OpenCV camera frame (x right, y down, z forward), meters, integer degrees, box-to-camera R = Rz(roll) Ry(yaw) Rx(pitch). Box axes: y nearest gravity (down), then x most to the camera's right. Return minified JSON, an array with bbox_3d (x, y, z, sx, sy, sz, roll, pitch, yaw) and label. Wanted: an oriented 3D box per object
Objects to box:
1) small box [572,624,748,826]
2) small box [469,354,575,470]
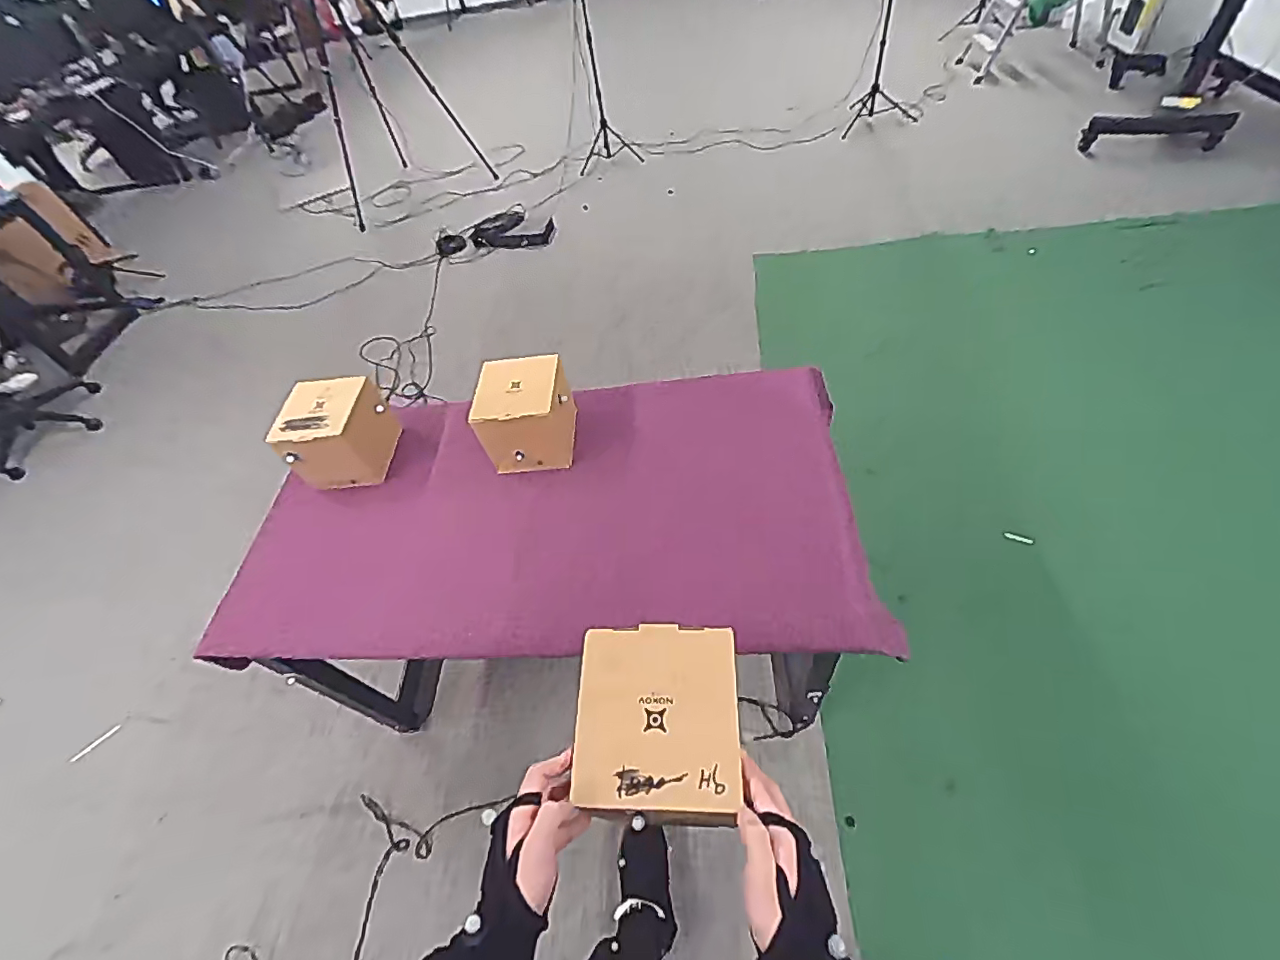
[{"bbox_3d":[0.031,0.276,0.608,0.168,0.176,0.179,-2,55,8],"label":"small box"},{"bbox_3d":[-0.238,-0.141,1.142,0.168,0.176,0.179,-4,53,6],"label":"small box"}]
